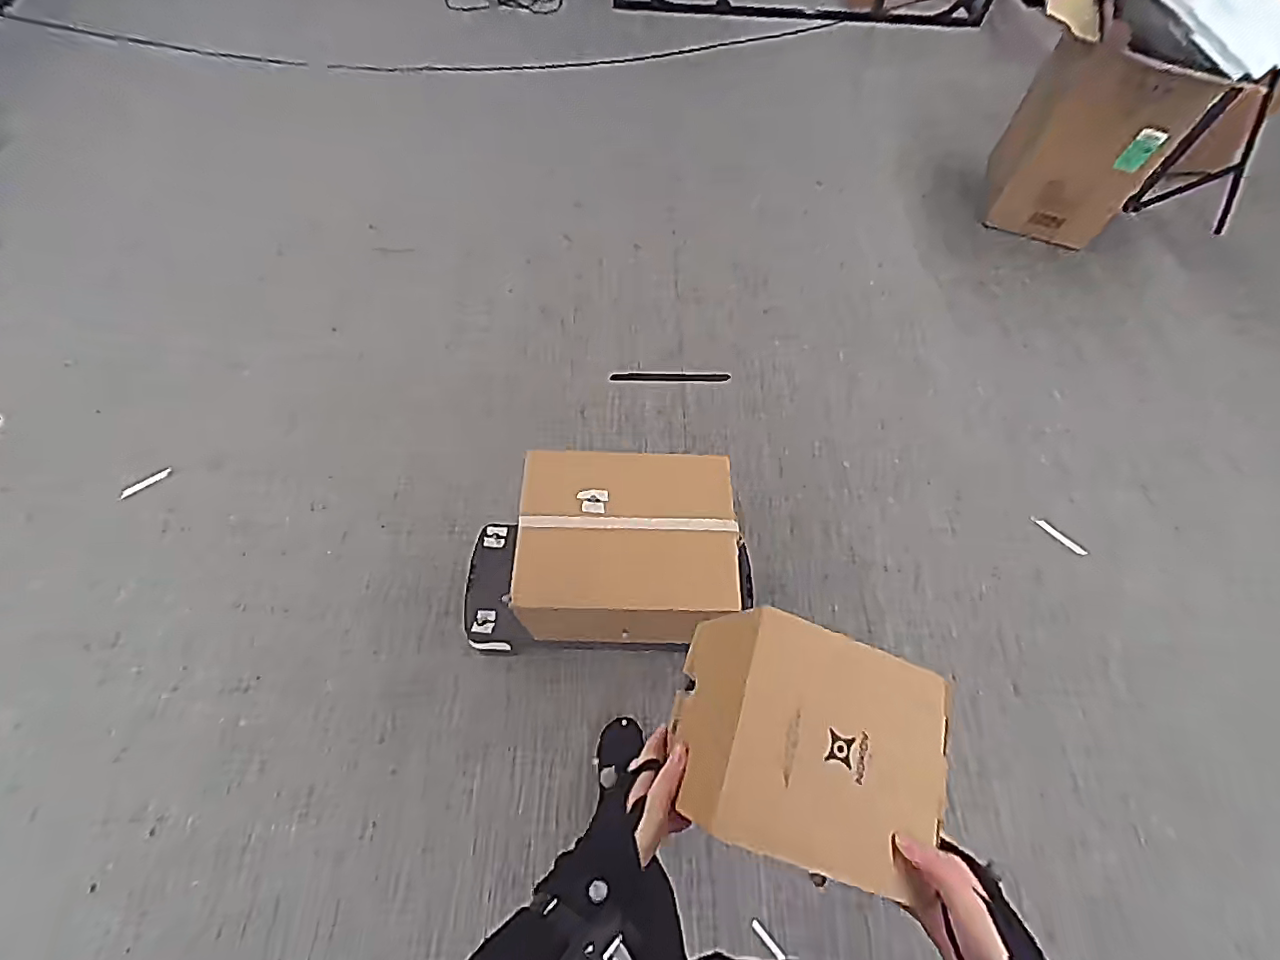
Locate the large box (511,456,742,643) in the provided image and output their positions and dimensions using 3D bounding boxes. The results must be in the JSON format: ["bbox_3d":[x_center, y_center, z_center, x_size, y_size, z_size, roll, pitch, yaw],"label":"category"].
[{"bbox_3d":[-0.025,0.156,1.122,0.408,0.320,0.320,1,62,-1],"label":"large box"}]

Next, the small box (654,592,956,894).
[{"bbox_3d":[0.133,0.215,0.473,0.179,0.176,0.168,23,65,-6],"label":"small box"}]

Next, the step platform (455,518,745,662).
[{"bbox_3d":[-0.088,0.280,1.324,0.684,0.204,0.286,6,63,1],"label":"step platform"}]
